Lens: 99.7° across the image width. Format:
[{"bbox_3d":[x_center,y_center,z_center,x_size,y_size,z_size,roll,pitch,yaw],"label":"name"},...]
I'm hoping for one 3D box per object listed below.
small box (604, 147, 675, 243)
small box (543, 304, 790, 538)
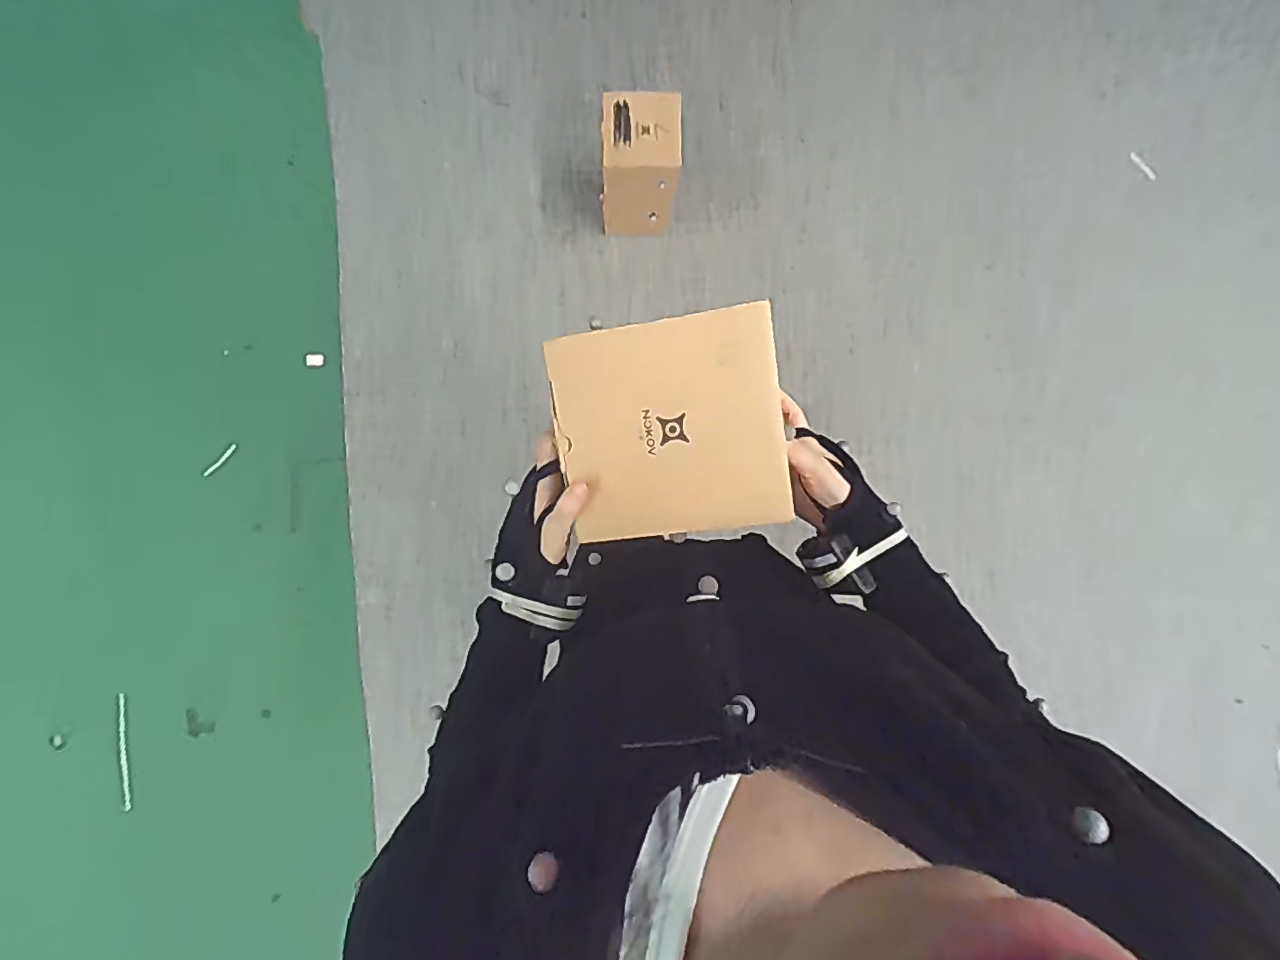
[{"bbox_3d":[-0.004,-0.747,1.432,0.179,0.176,0.168,1,89,-1],"label":"small box"},{"bbox_3d":[0.032,-0.055,0.496,0.179,0.176,0.168,-7,98,11],"label":"small box"}]
